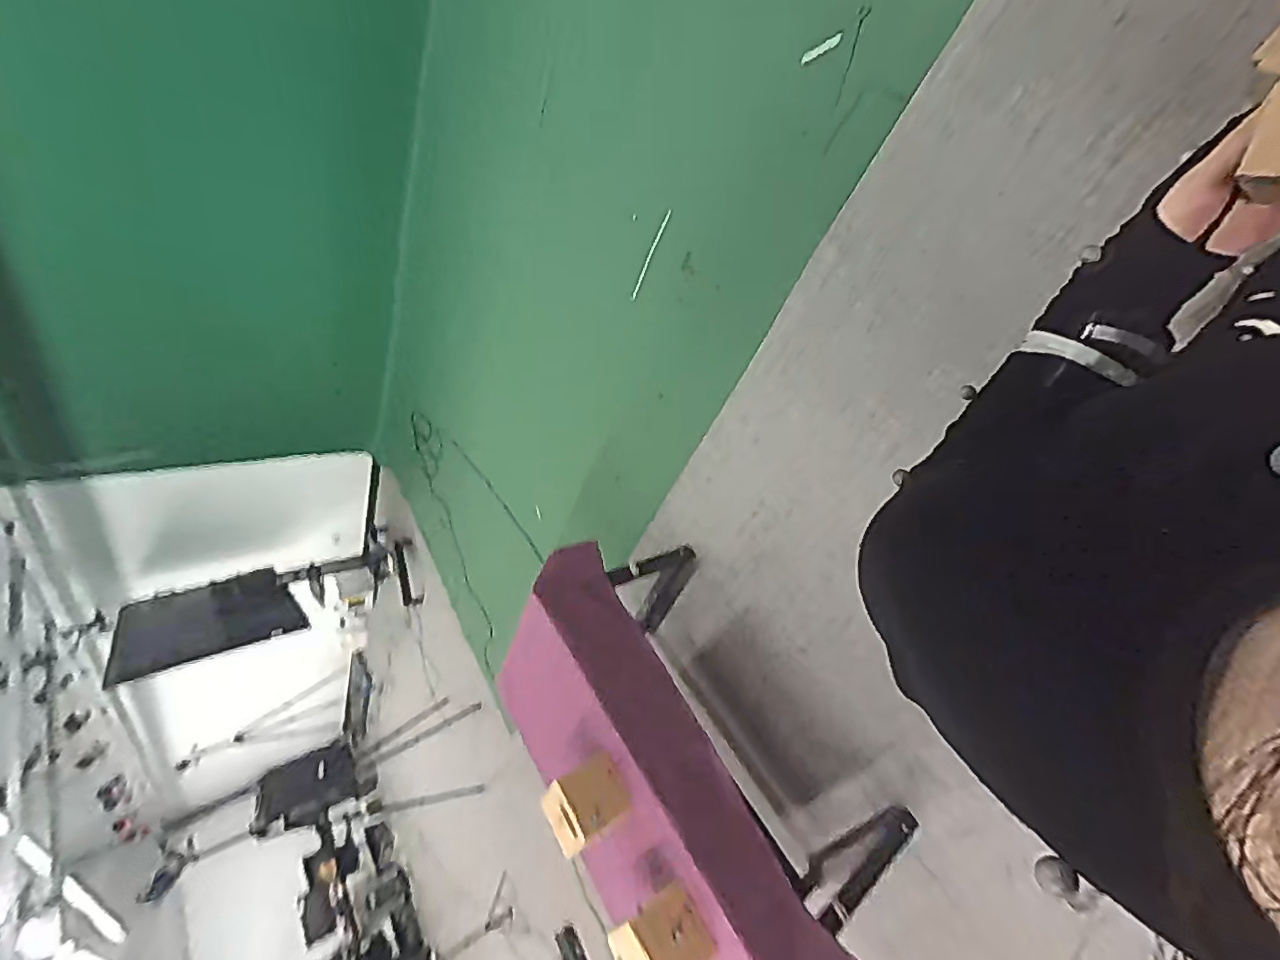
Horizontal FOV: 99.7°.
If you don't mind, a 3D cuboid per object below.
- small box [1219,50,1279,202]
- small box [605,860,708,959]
[{"bbox_3d":[0.401,-0.205,0.218,0.179,0.176,0.168,30,126,41],"label":"small box"},{"bbox_3d":[0.045,1.103,1.361,0.168,0.176,0.179,53,134,27],"label":"small box"}]
